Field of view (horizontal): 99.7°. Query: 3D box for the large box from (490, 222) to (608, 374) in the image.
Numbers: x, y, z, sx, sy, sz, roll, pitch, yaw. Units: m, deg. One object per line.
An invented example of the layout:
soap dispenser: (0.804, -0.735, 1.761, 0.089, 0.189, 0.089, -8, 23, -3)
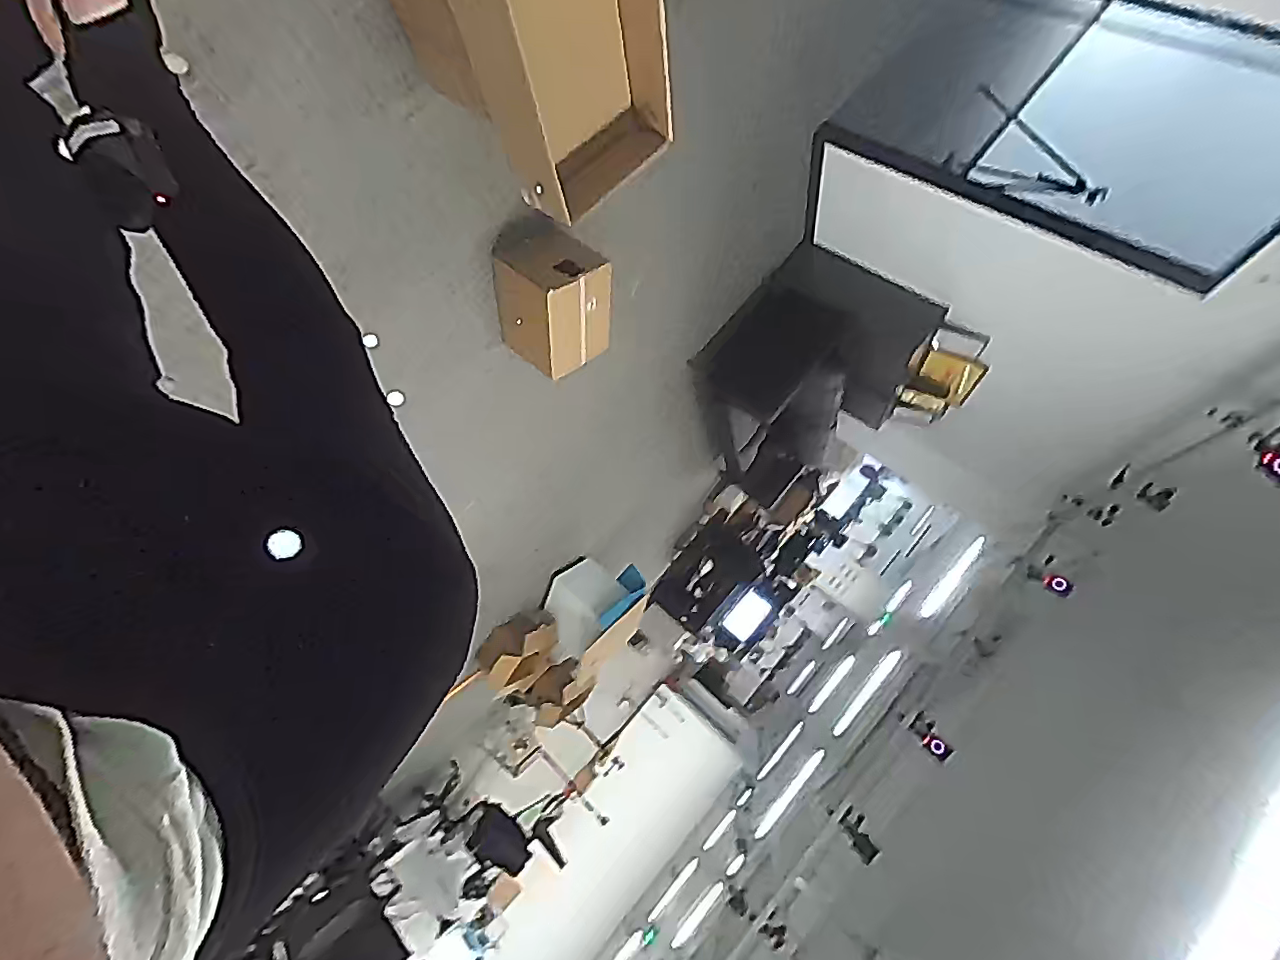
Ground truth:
large box: (-0.340, -0.699, 2.089, 0.320, 0.320, 0.408, -40, 156, -29)
